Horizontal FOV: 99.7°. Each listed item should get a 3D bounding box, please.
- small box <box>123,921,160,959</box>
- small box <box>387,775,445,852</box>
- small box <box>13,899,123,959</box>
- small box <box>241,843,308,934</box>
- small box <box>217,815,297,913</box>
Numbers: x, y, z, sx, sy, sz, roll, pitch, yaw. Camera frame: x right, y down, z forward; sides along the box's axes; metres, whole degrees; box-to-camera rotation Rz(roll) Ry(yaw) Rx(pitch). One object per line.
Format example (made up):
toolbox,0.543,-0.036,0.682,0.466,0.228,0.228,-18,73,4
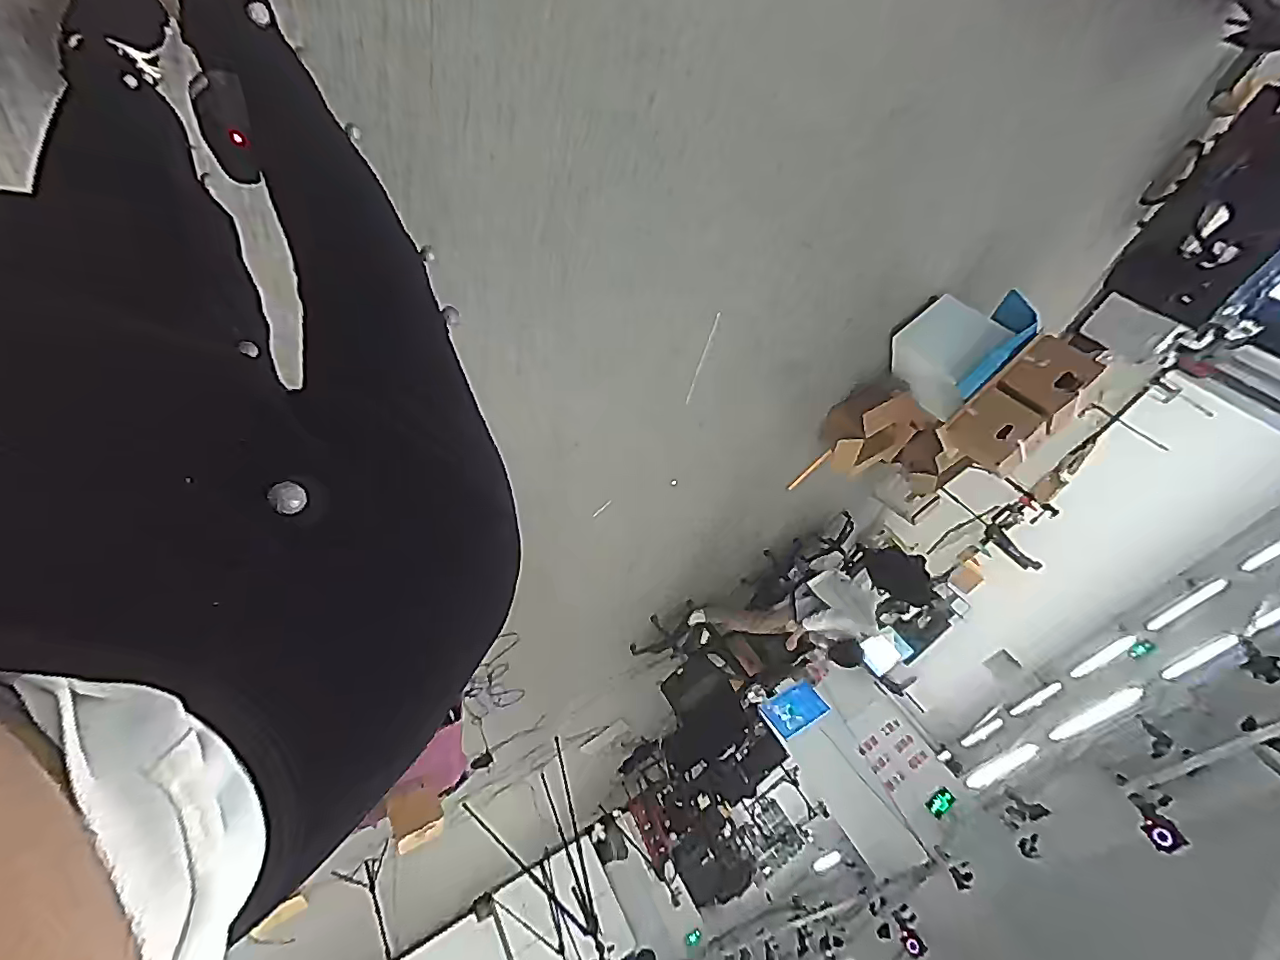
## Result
small box,-1.557,1.465,1.609,0.168,0.176,0.179,-16,140,-35
small box,-0.850,1.250,2.041,0.168,0.176,0.179,-13,140,-33
small box,-1.474,1.233,1.402,0.168,0.176,0.179,-14,142,-35
small box,-1.231,1.363,1.814,0.168,0.176,0.179,-14,139,-34
small box,-1.147,1.146,1.623,0.168,0.176,0.179,-13,141,-34
